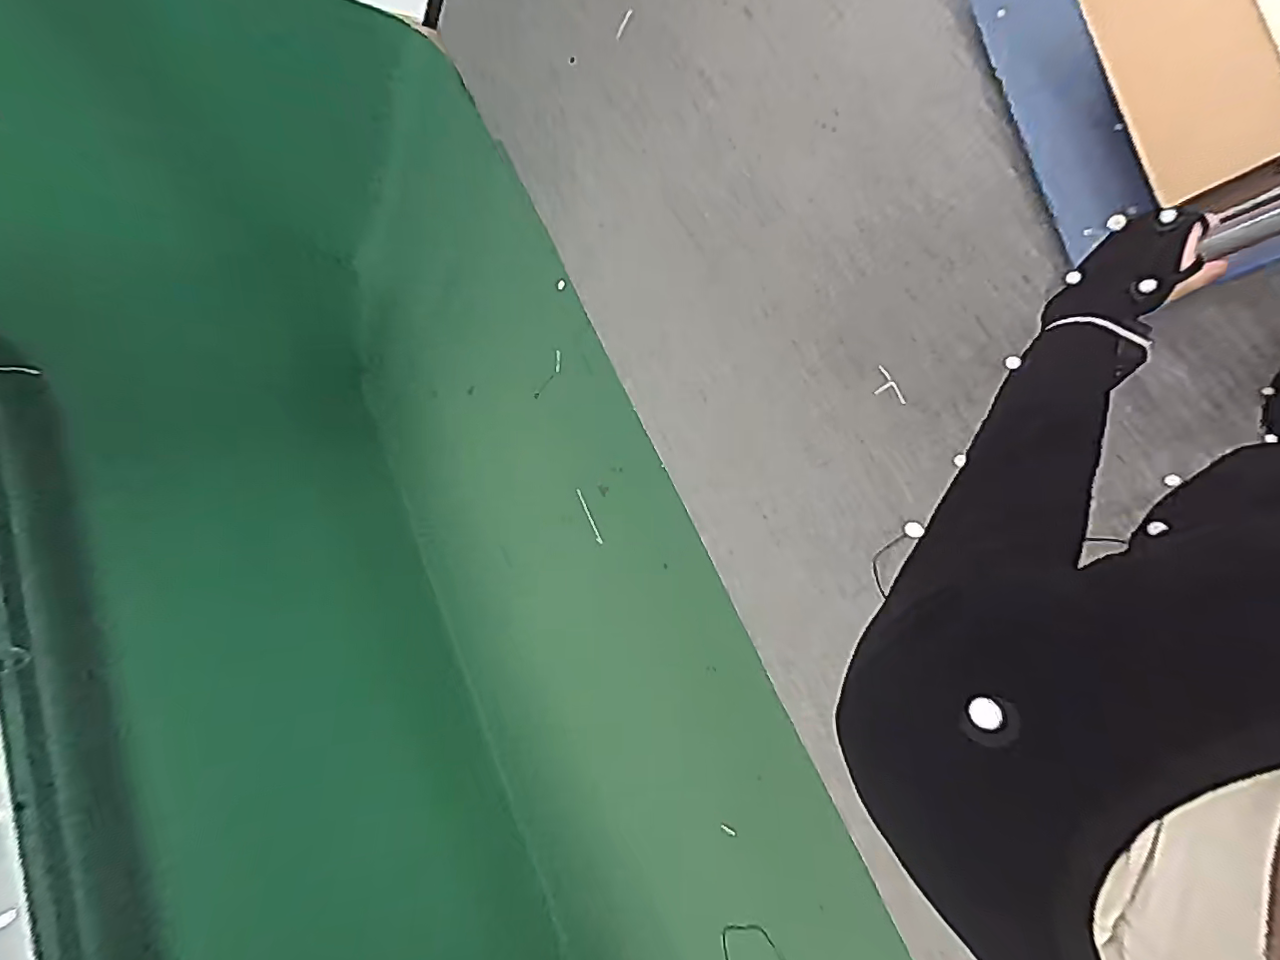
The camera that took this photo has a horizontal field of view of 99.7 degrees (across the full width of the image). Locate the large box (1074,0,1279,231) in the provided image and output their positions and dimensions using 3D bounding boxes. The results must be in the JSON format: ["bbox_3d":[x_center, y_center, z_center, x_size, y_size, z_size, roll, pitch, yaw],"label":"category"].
[{"bbox_3d":[0.923,-0.653,0.797,0.320,0.320,0.408,-23,81,48],"label":"large box"}]
